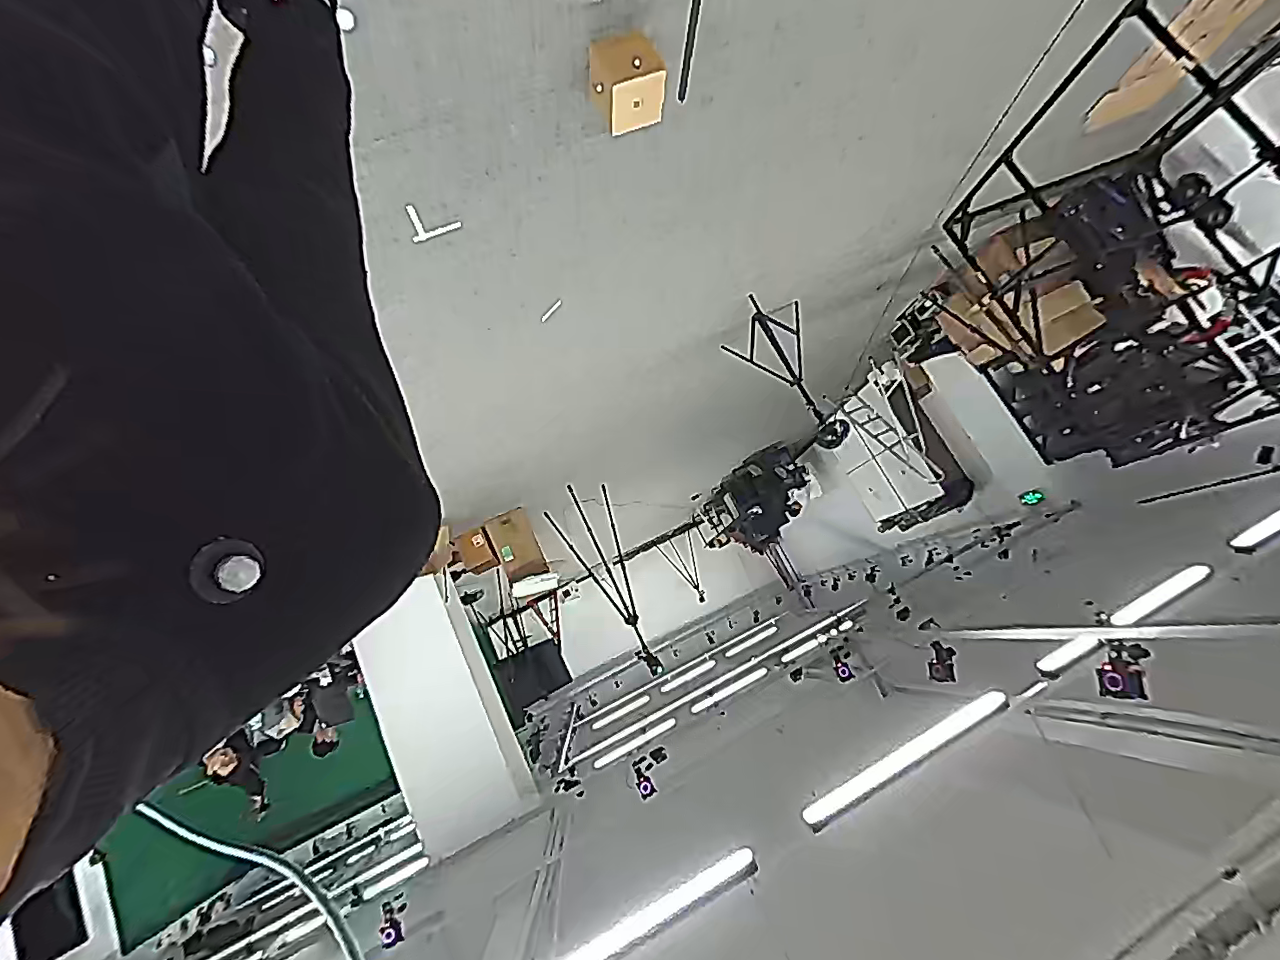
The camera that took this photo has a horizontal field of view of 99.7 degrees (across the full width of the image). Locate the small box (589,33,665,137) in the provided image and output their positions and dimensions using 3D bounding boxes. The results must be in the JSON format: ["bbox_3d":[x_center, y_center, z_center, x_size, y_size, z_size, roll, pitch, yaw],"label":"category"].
[{"bbox_3d":[-0.046,-1.184,1.622,0.179,0.176,0.168,-26,166,-10],"label":"small box"}]
